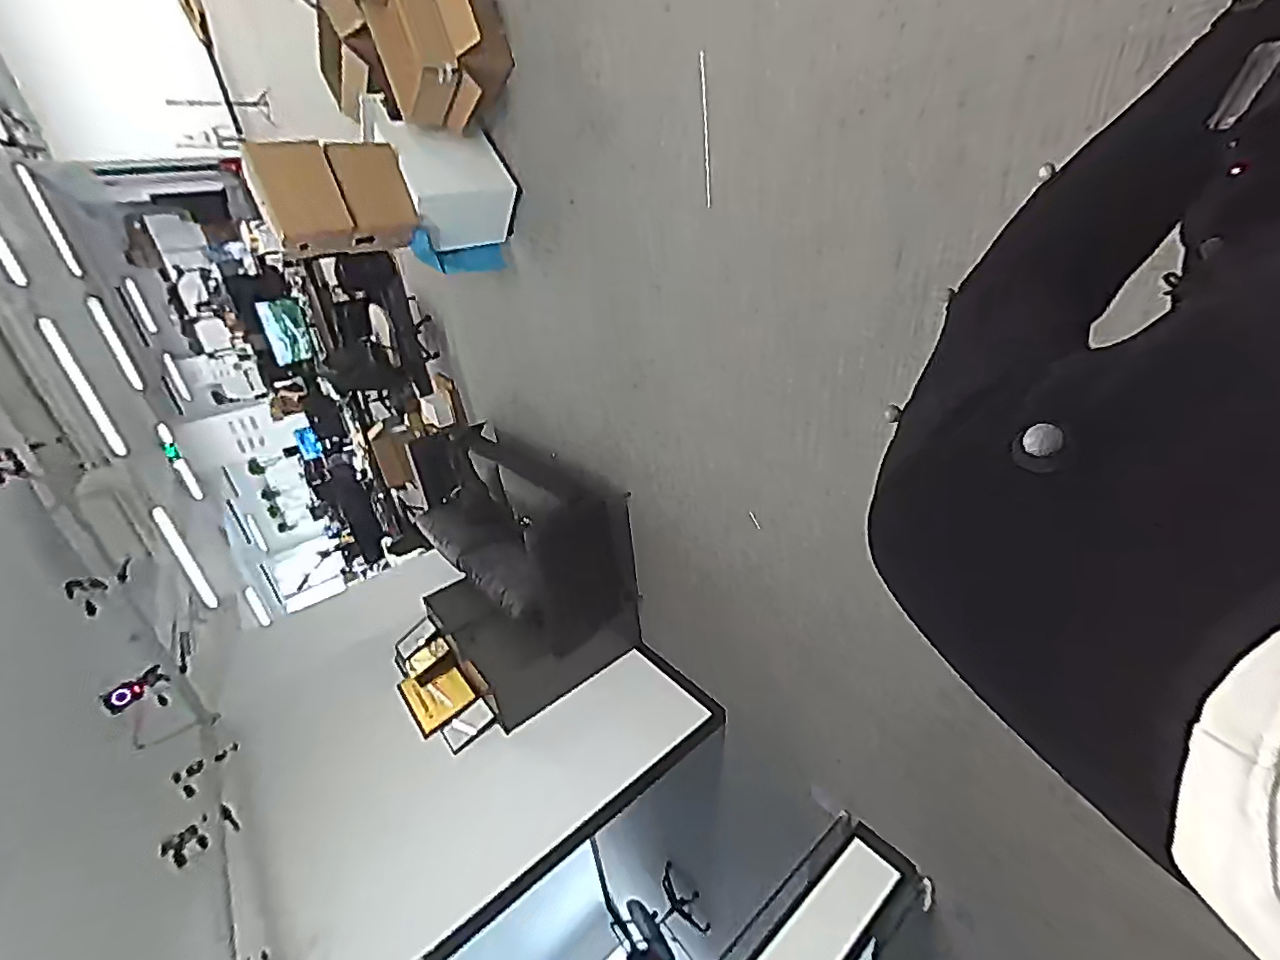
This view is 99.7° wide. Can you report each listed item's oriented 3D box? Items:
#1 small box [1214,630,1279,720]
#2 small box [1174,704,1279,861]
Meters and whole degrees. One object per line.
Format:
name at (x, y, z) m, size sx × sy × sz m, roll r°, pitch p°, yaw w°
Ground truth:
small box at (1.435, 0.463, 1.185) m, size 0.179 × 0.176 × 0.168 m, roll 32°, pitch 136°, yaw 44°
small box at (1.175, 0.564, 1.013) m, size 0.179 × 0.176 × 0.168 m, roll 34°, pitch 136°, yaw 42°
